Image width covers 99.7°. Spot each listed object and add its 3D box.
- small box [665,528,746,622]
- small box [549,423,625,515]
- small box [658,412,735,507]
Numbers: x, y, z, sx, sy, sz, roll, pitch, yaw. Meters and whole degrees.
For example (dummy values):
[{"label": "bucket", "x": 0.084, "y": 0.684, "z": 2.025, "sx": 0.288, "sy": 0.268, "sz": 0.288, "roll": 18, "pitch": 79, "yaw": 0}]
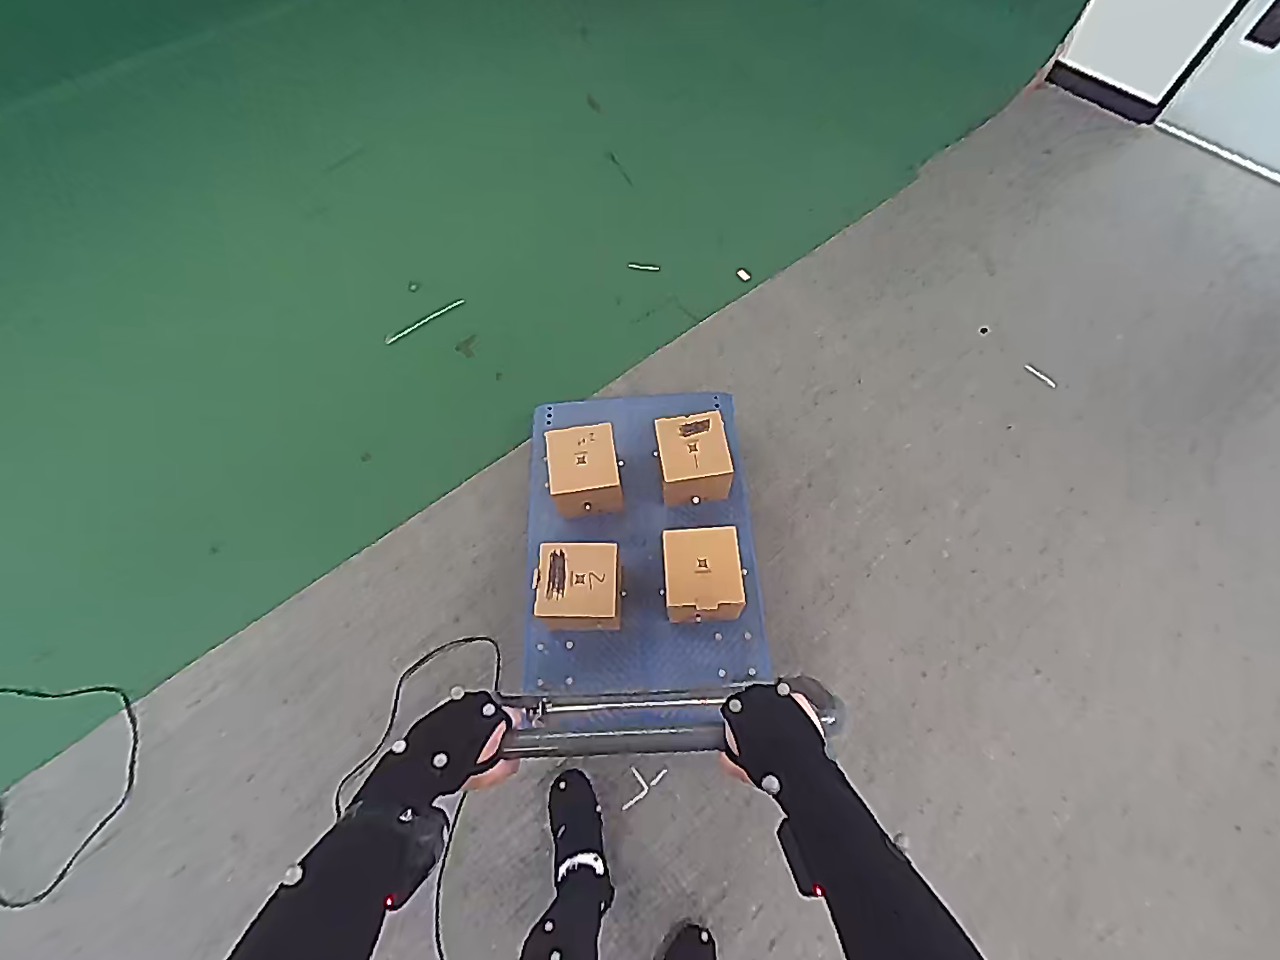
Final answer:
[{"label": "small box", "x": 0.143, "y": 0.221, "z": 1.245, "sx": 0.168, "sy": 0.176, "sz": 0.179, "roll": -3, "pitch": 66, "yaw": 1}, {"label": "small box", "x": -0.132, "y": -0.020, "z": 1.368, "sx": 0.168, "sy": 0.176, "sz": 0.179, "roll": -7, "pitch": 65, "yaw": -2}, {"label": "small box", "x": 0.136, "y": -0.048, "z": 1.369, "sx": 0.168, "sy": 0.176, "sz": 0.179, "roll": -8, "pitch": 66, "yaw": -1}]
